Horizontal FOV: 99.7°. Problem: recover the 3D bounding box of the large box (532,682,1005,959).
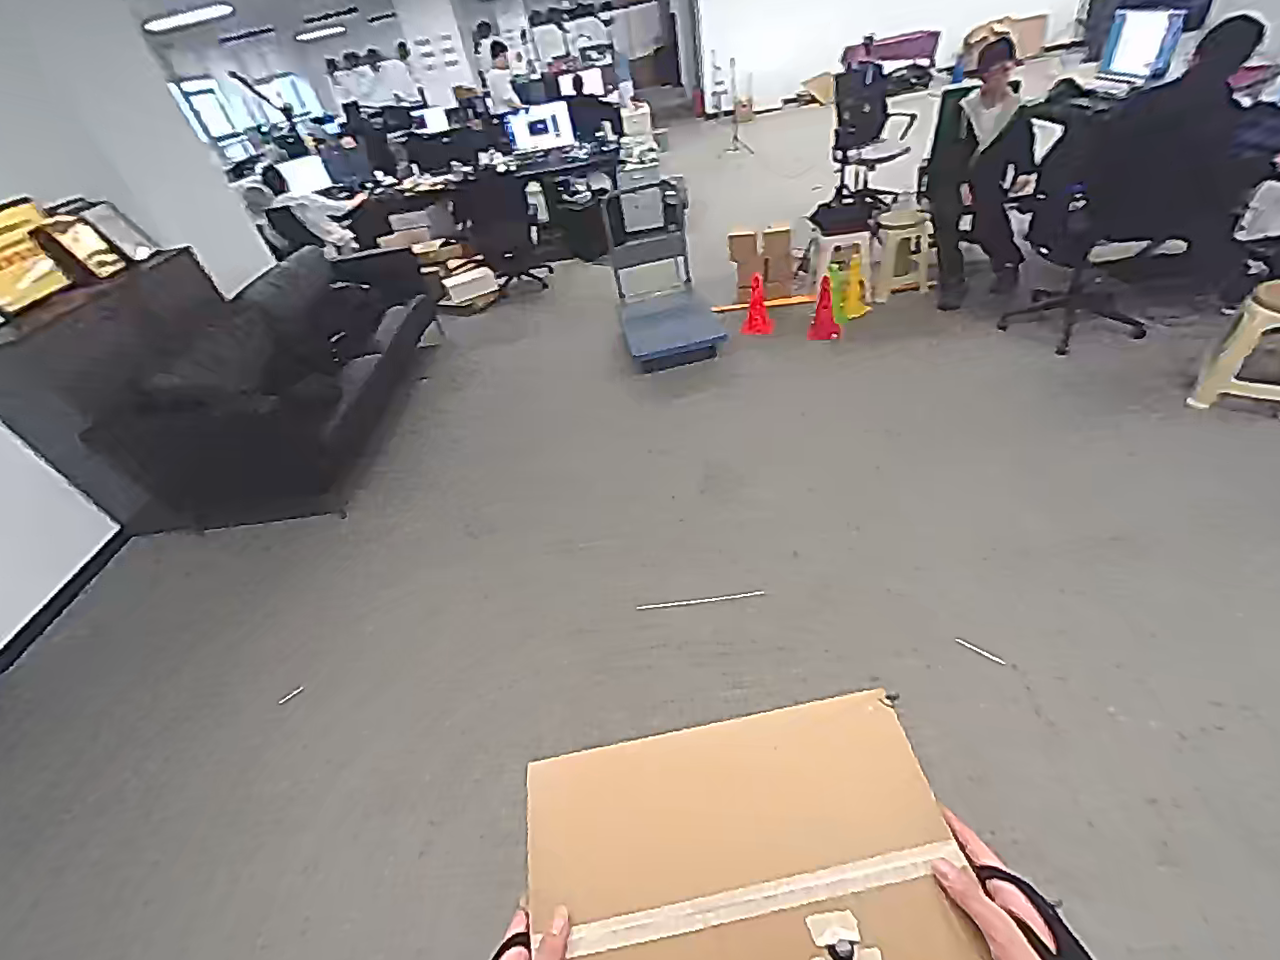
[{"bbox_3d":[0.114,0.481,0.620,0.408,0.320,0.320,-11,49,-3],"label":"large box"}]
